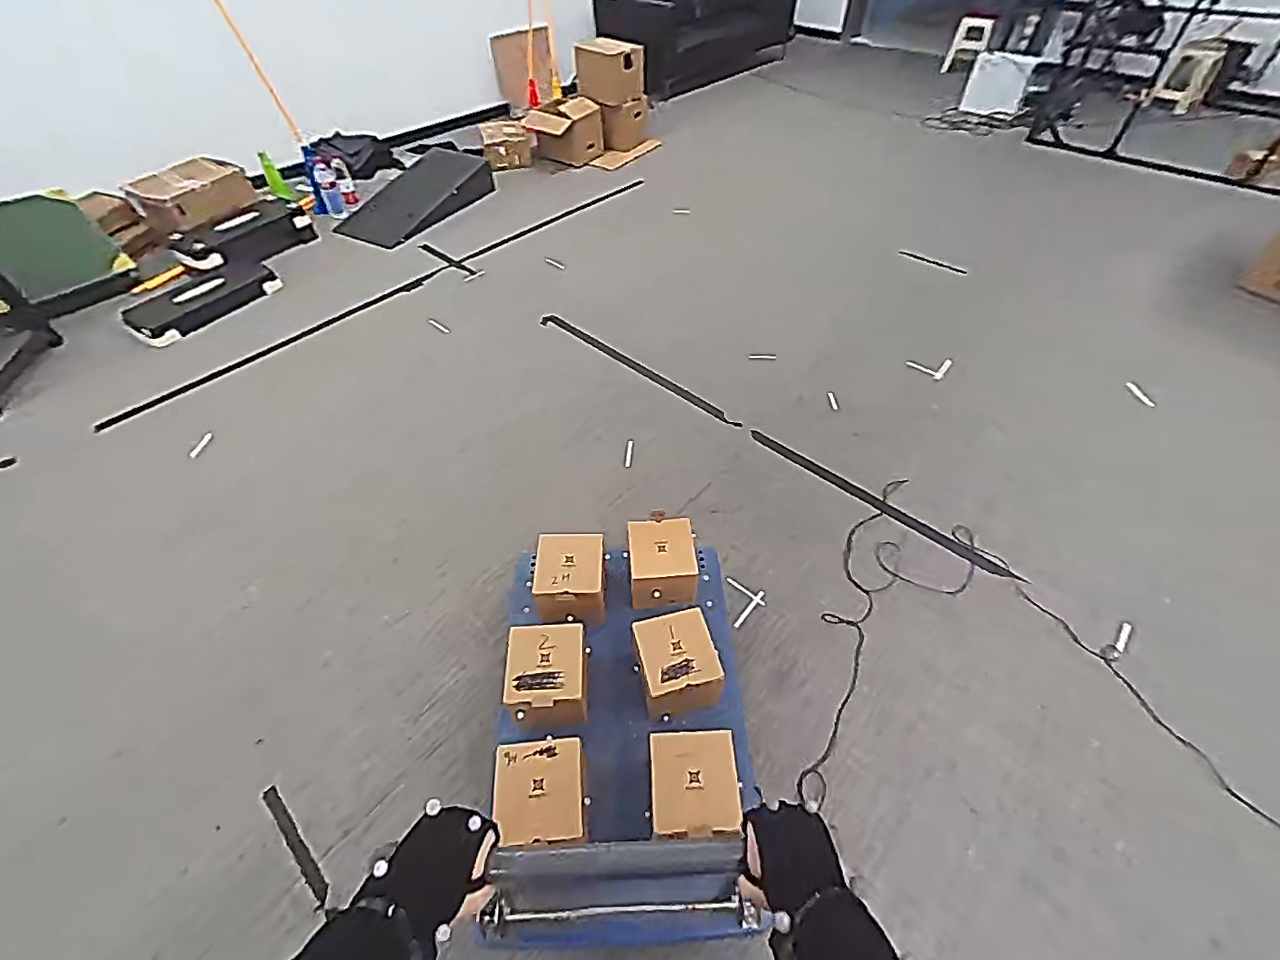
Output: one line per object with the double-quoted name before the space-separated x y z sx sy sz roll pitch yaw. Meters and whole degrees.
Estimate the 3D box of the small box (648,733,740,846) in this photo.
"small box" 0.102 0.629 1.094 0.168 0.176 0.179 -1 48 -1

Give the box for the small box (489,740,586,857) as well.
"small box" -0.196 0.641 1.081 0.168 0.176 0.179 -4 49 -4

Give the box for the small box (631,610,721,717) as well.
"small box" 0.078 0.435 1.262 0.168 0.176 0.179 -11 49 -9

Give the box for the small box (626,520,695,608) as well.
"small box" 0.051 0.230 1.440 0.168 0.176 0.179 -4 49 -3

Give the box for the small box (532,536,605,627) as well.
"small box" -0.179 0.263 1.408 0.168 0.176 0.179 0 50 0
